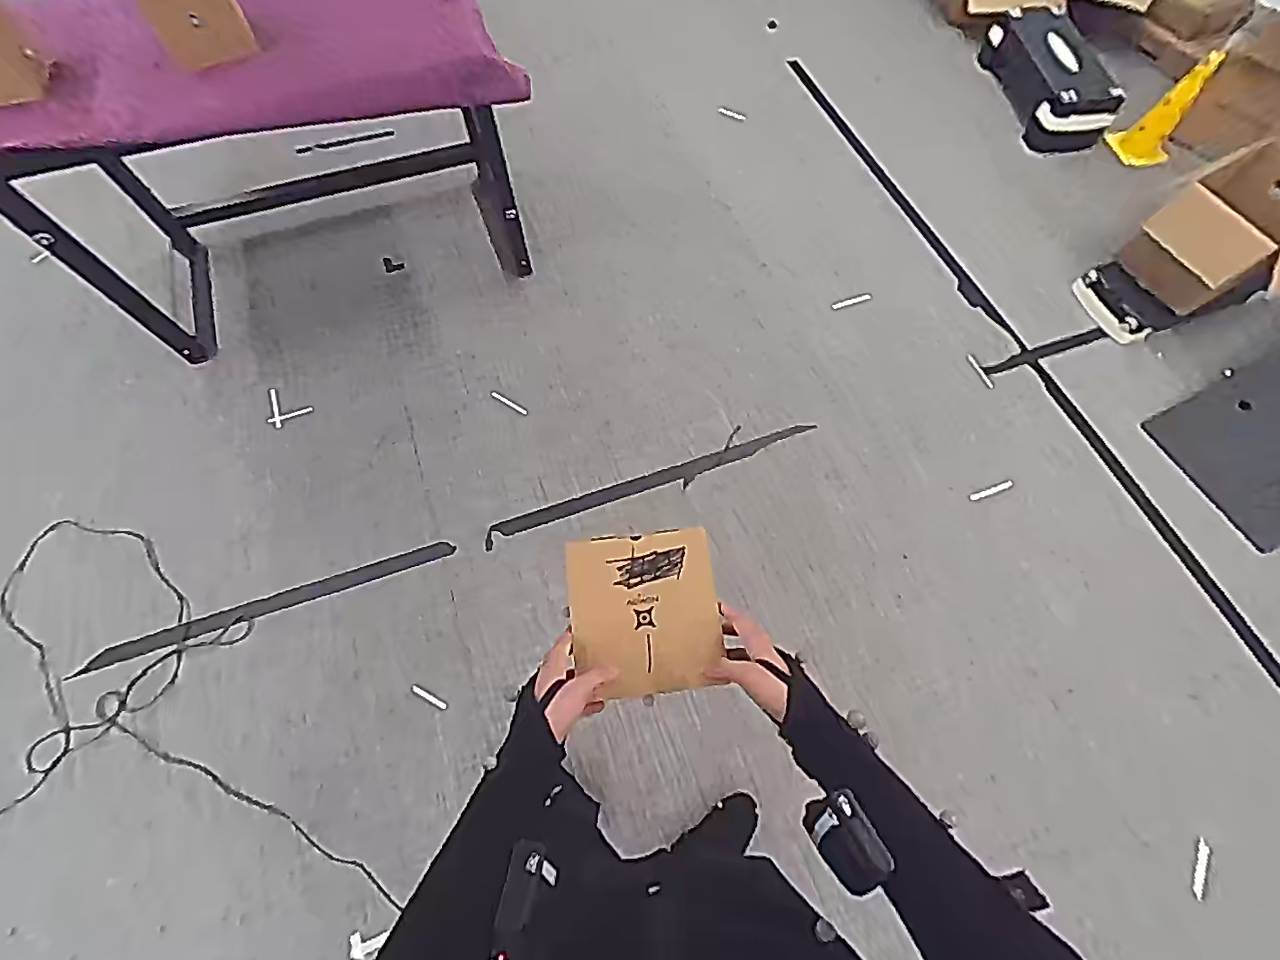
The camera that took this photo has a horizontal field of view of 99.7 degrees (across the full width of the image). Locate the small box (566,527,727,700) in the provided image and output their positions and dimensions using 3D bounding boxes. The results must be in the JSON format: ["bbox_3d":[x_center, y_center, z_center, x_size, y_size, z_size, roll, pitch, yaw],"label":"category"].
[{"bbox_3d":[0.002,0.171,0.674,0.168,0.176,0.179,-7,71,-2],"label":"small box"}]

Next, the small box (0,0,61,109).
[{"bbox_3d":[-1.434,-0.928,1.166,0.179,0.176,0.168,-16,67,-8],"label":"small box"}]
